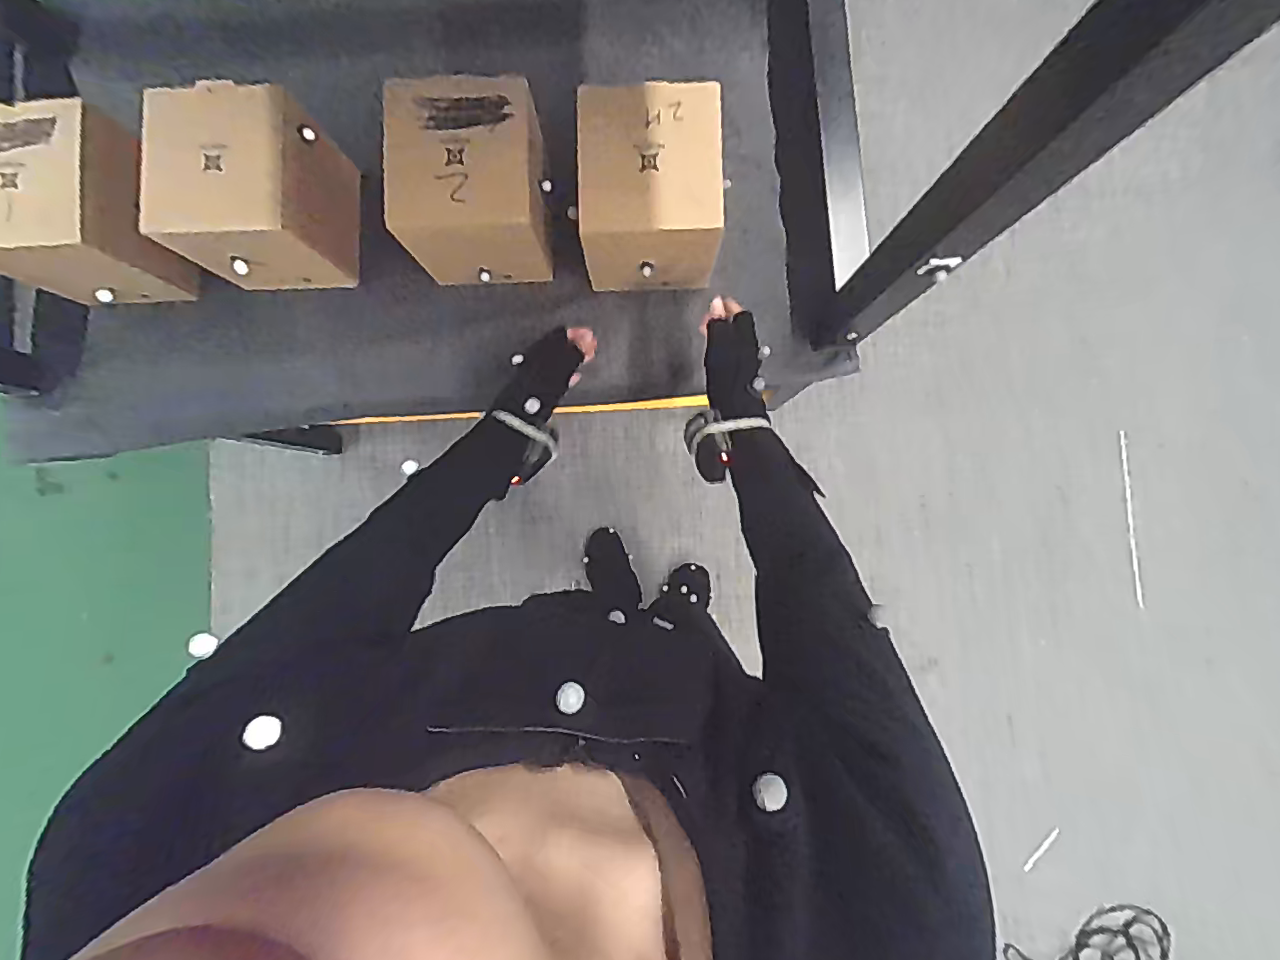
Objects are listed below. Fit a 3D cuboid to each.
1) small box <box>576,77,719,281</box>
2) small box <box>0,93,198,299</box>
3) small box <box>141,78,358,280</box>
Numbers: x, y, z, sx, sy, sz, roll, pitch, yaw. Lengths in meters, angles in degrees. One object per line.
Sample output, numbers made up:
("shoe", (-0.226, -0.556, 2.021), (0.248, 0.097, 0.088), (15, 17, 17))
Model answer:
("small box", (0.010, -0.370, 0.696), (0.168, 0.176, 0.179), (-1, 86, 0))
("small box", (-0.713, -0.352, 0.696), (0.168, 0.176, 0.179), (-3, 88, 0))
("small box", (-0.487, -0.371, 0.700), (0.168, 0.176, 0.179), (-2, 87, 0))
